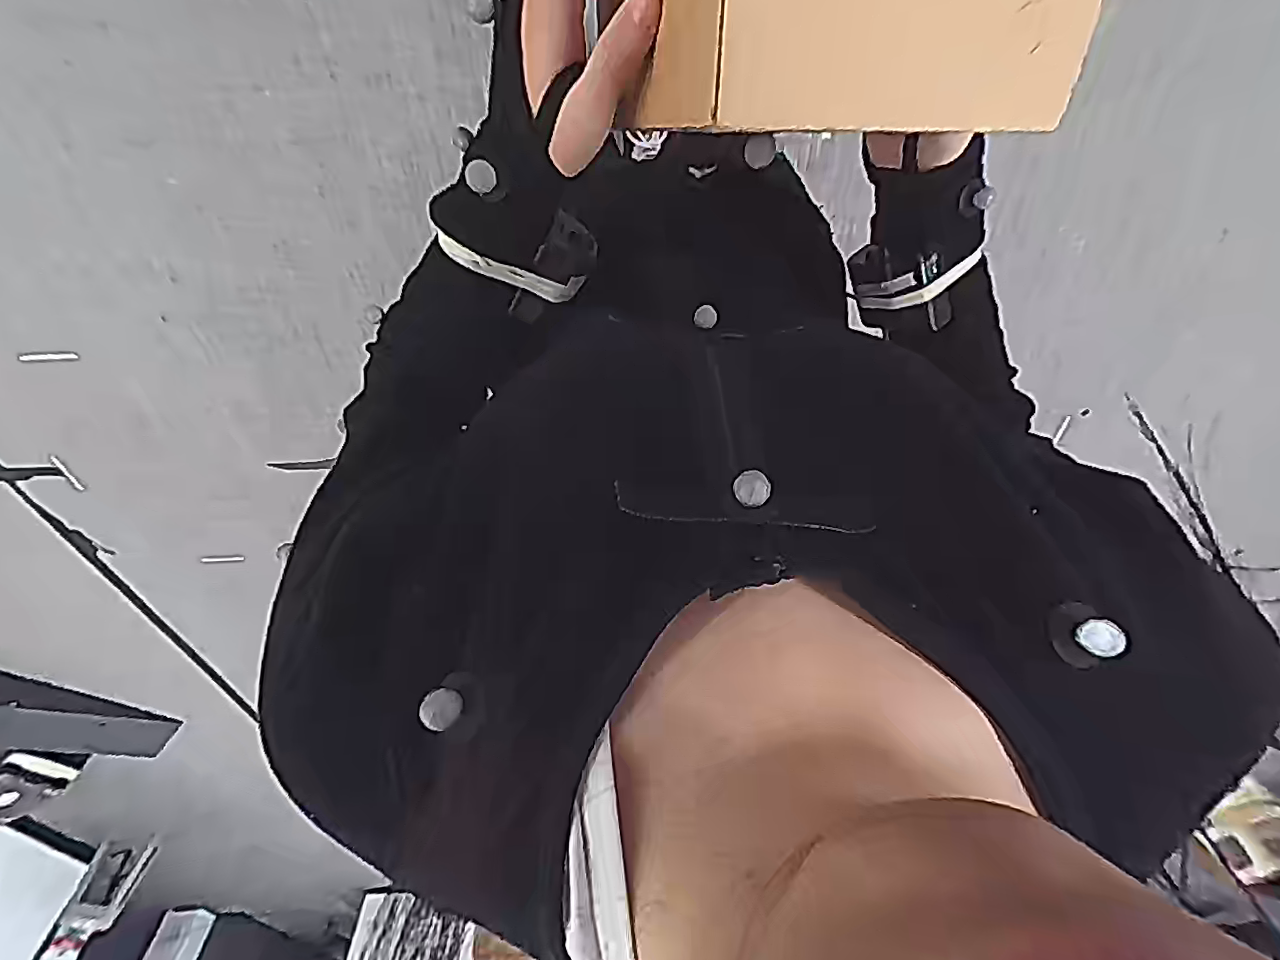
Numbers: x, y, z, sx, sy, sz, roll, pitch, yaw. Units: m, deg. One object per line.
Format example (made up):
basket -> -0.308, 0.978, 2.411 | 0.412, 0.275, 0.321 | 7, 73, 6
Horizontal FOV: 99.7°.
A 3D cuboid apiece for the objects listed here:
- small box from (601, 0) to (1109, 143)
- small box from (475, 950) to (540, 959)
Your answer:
small box -> 0.081, -0.252, 0.234 | 0.168, 0.176, 0.179 | -9, 123, -15
small box -> -0.354, 1.348, 1.407 | 0.168, 0.176, 0.179 | 3, 131, -4
